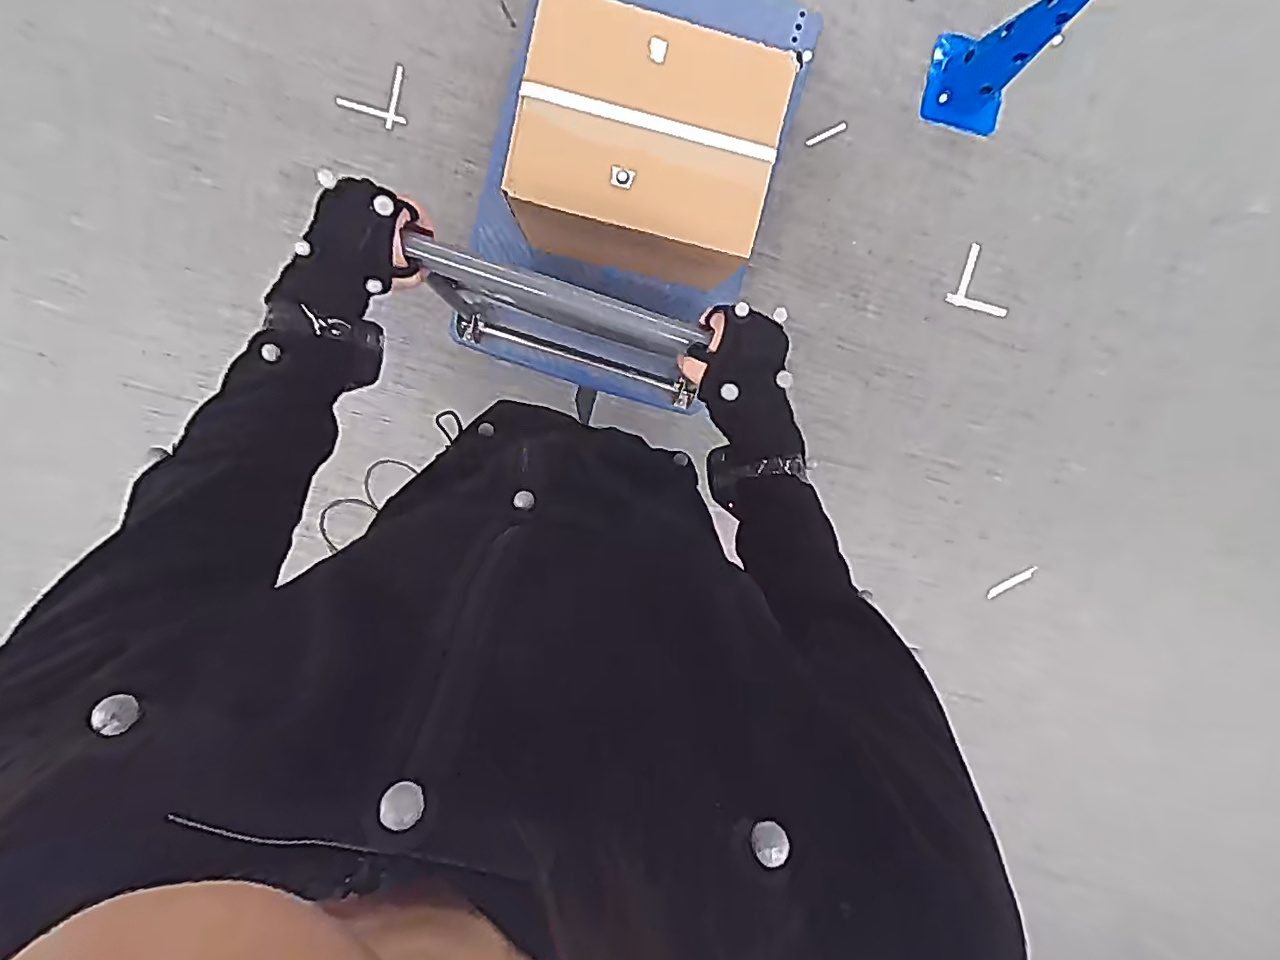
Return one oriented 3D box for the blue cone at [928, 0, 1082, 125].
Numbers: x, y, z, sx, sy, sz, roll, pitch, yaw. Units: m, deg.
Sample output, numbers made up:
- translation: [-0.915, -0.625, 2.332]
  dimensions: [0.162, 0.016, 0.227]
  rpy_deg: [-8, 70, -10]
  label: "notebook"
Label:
- translation: [0.821, -0.957, 1.163]
  dimensions: [0.193, 0.380, 0.192]
  rpy_deg: [11, 97, -7]
  label: "blue cone"
